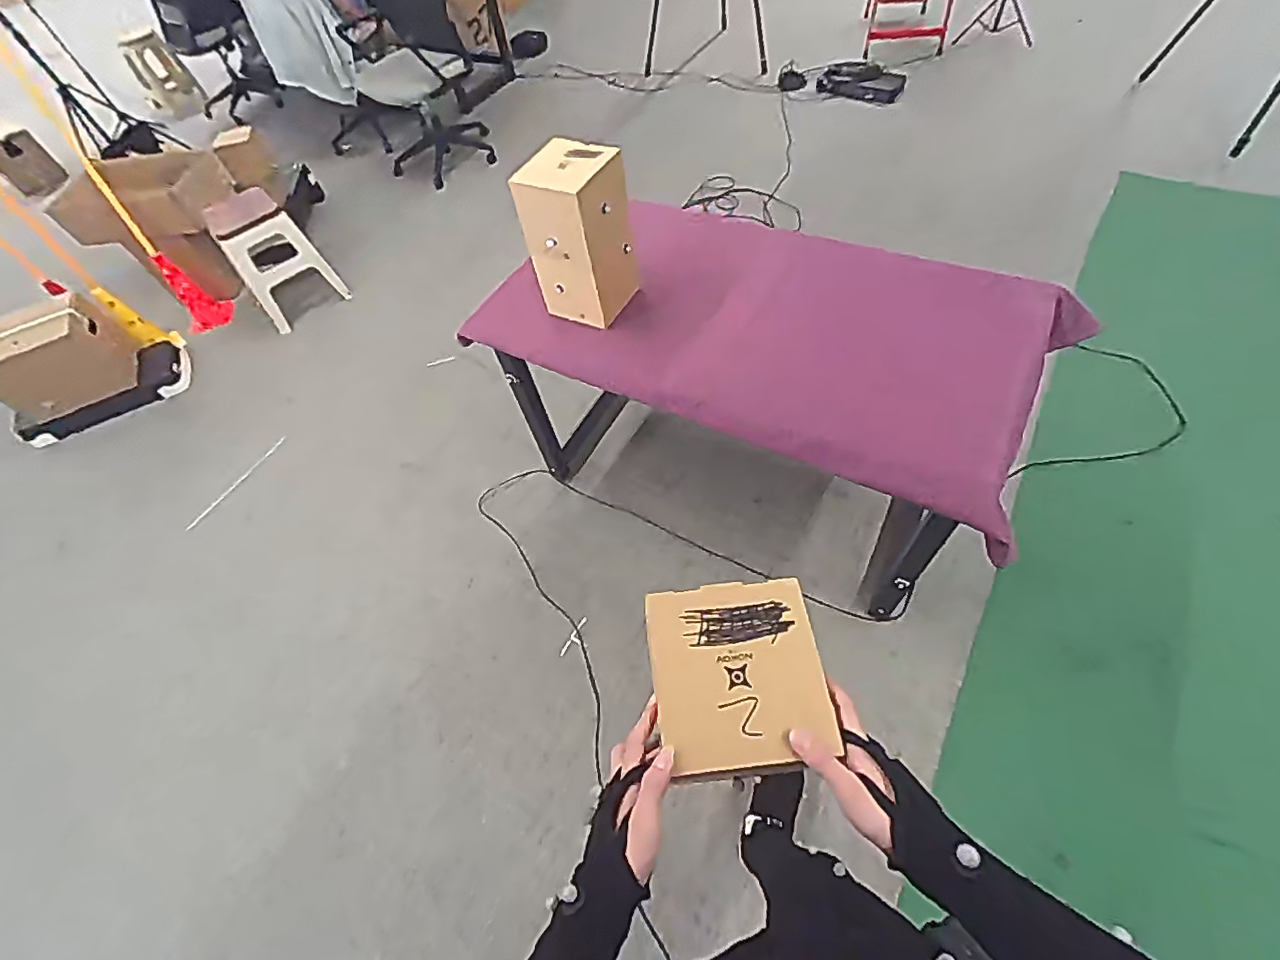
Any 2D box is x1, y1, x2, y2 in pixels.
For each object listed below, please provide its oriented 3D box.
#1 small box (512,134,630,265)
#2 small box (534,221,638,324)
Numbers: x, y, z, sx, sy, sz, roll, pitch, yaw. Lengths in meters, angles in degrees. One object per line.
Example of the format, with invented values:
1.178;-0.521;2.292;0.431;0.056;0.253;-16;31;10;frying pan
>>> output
-0.133;-0.586;1.134;0.168;0.176;0.179;22;63;21;small box
-0.115;-0.495;1.270;0.168;0.176;0.179;22;62;20;small box
